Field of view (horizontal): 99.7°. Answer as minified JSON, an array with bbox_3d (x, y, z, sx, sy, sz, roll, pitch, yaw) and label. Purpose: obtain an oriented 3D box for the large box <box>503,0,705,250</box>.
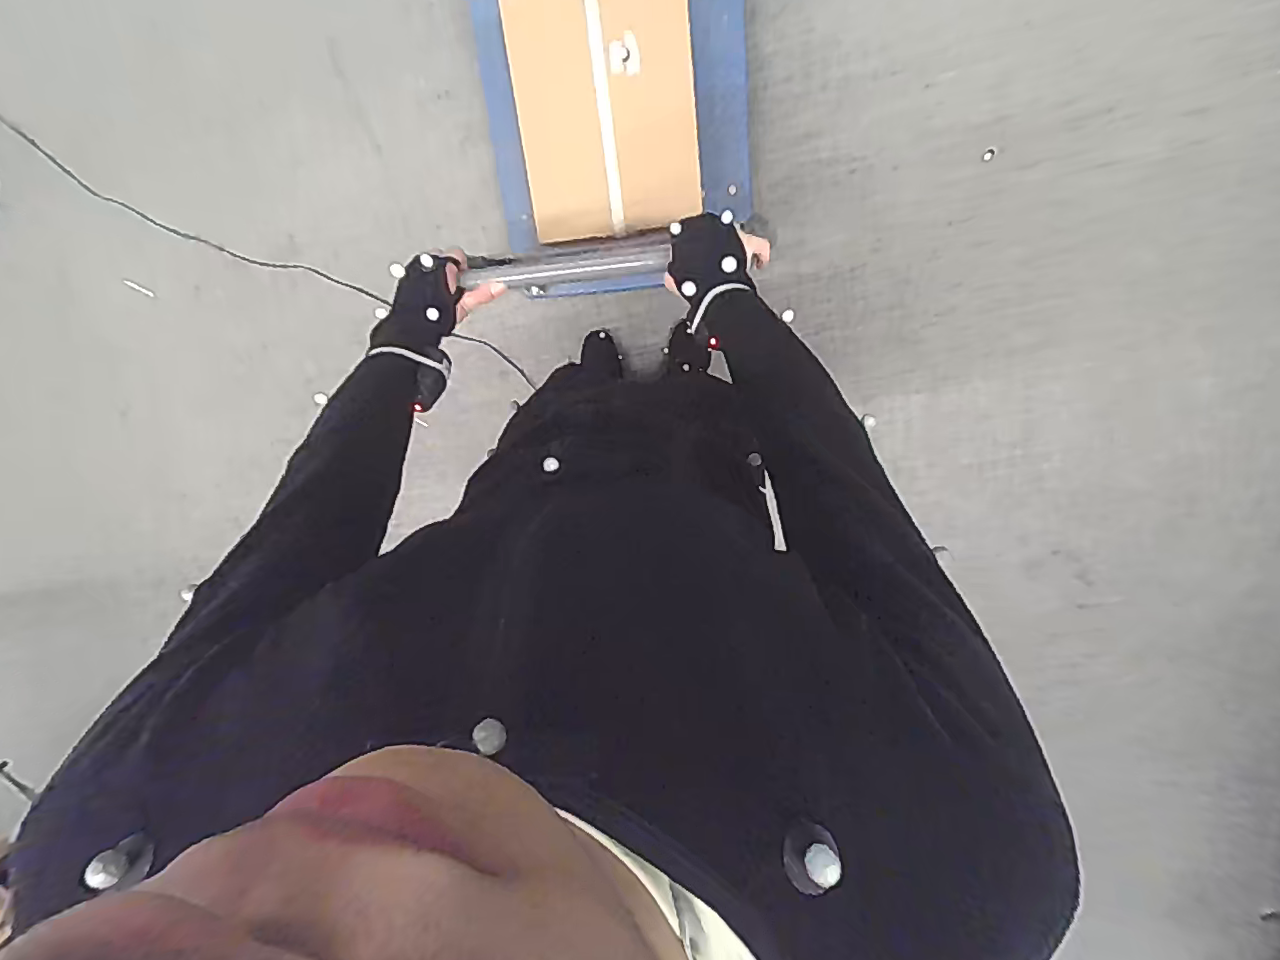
[{"bbox_3d":[-0.040,-0.700,1.076,0.320,0.320,0.408,-4,109,7],"label":"large box"}]
